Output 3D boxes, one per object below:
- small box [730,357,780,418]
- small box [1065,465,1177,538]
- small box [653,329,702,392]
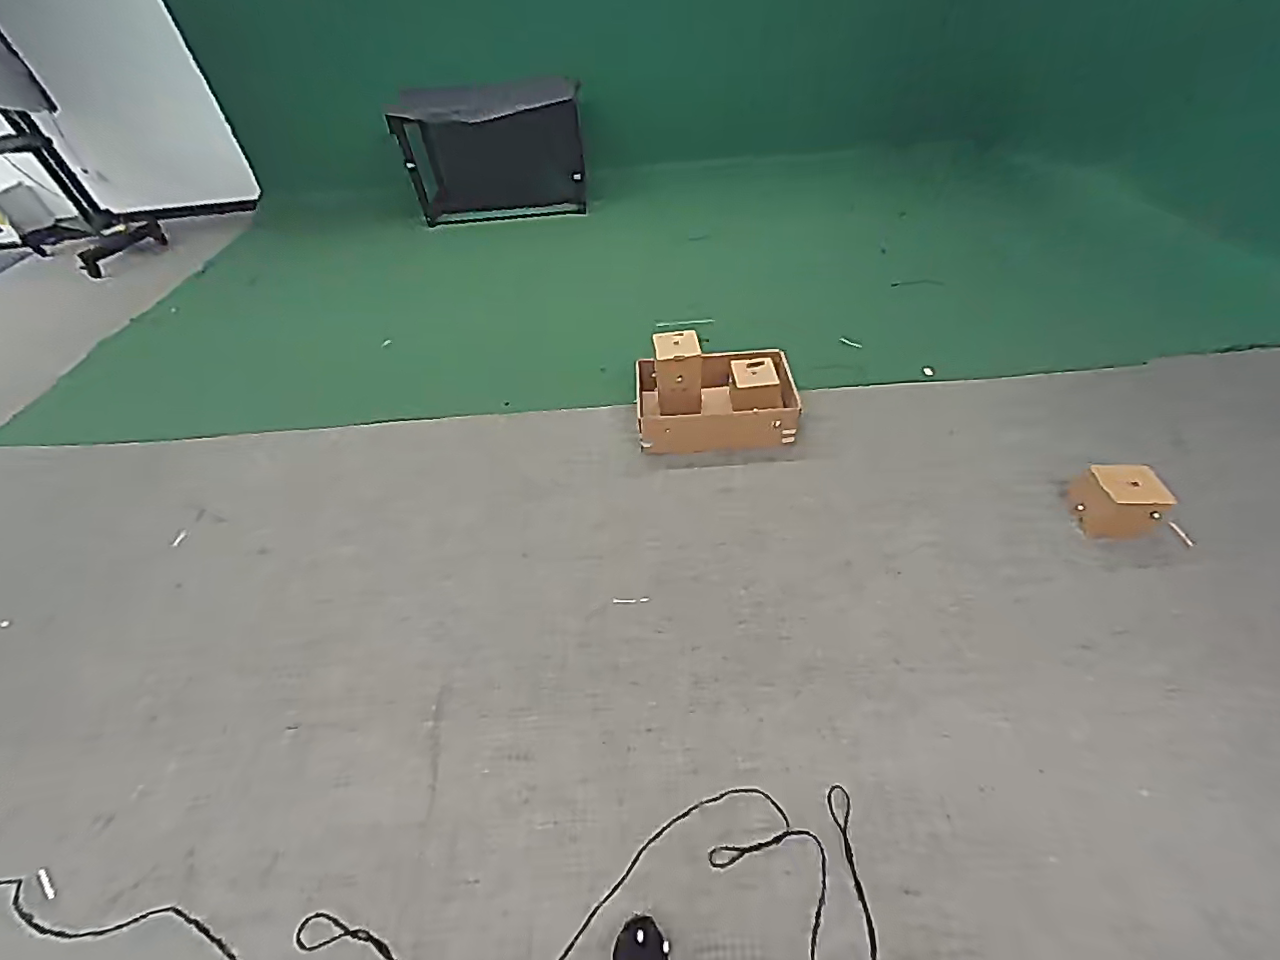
[{"bbox_3d":[0.457,-0.372,2.179,0.168,0.176,0.179,-6,48,2],"label":"small box"},{"bbox_3d":[1.517,0.070,1.719,0.179,0.176,0.168,0,46,6],"label":"small box"},{"bbox_3d":[0.144,-0.449,2.059,0.168,0.176,0.179,-6,48,0],"label":"small box"}]
